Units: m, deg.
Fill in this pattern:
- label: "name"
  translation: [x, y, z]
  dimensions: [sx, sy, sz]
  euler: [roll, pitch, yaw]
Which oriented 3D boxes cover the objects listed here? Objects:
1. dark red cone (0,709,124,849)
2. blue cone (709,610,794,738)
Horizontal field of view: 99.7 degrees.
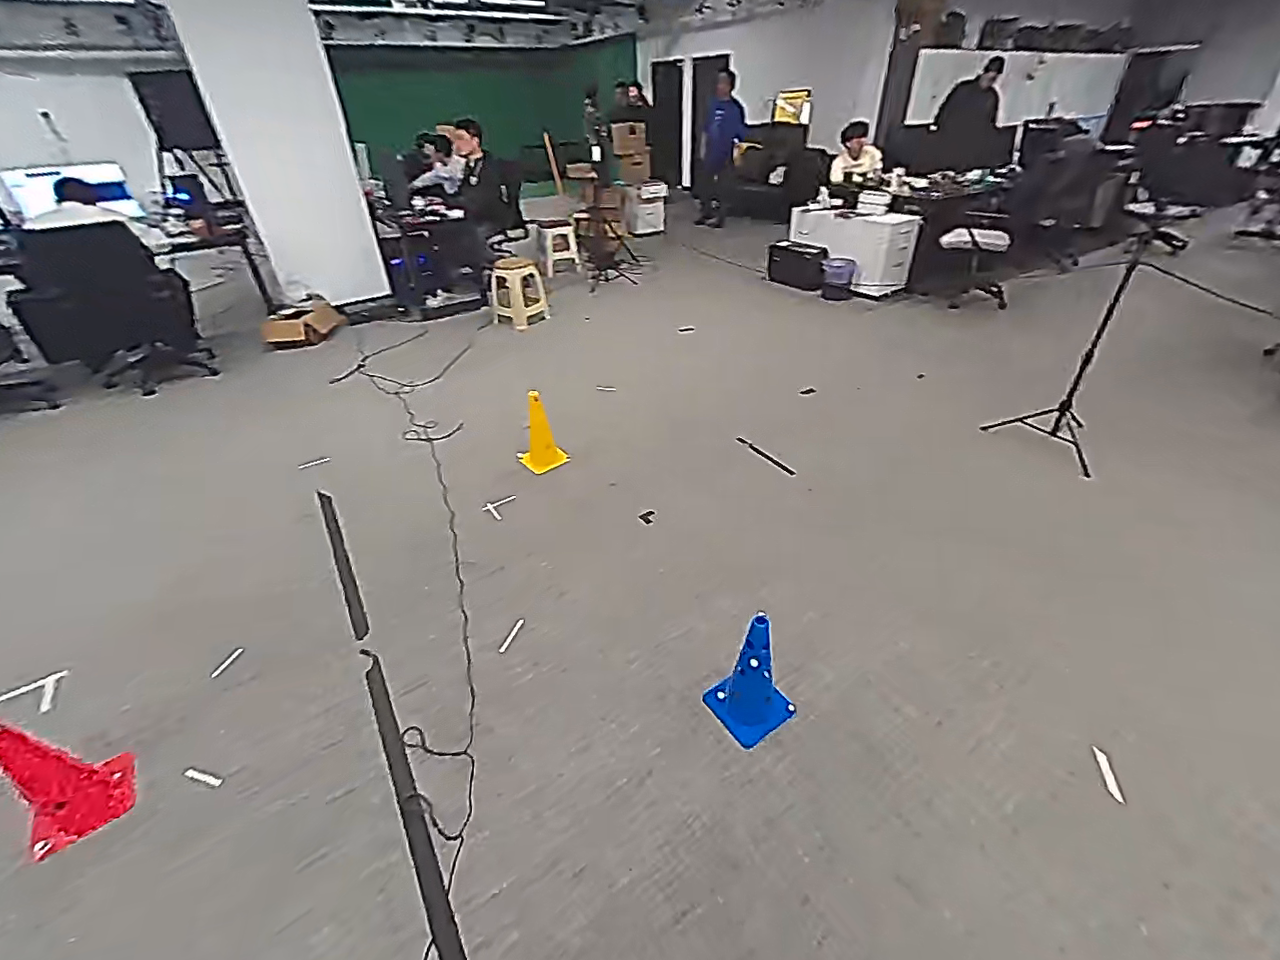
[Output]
- label: "dark red cone"
  translation: [-1.434, 0.655, 1.274]
  dimensions: [0.201, 0.394, 0.202]
  euler: [-26, 41, -32]
- label: "blue cone"
  translation: [0.311, 0.495, 1.451]
  dimensions: [0.192, 0.380, 0.193]
  euler: [-20, 38, -26]
